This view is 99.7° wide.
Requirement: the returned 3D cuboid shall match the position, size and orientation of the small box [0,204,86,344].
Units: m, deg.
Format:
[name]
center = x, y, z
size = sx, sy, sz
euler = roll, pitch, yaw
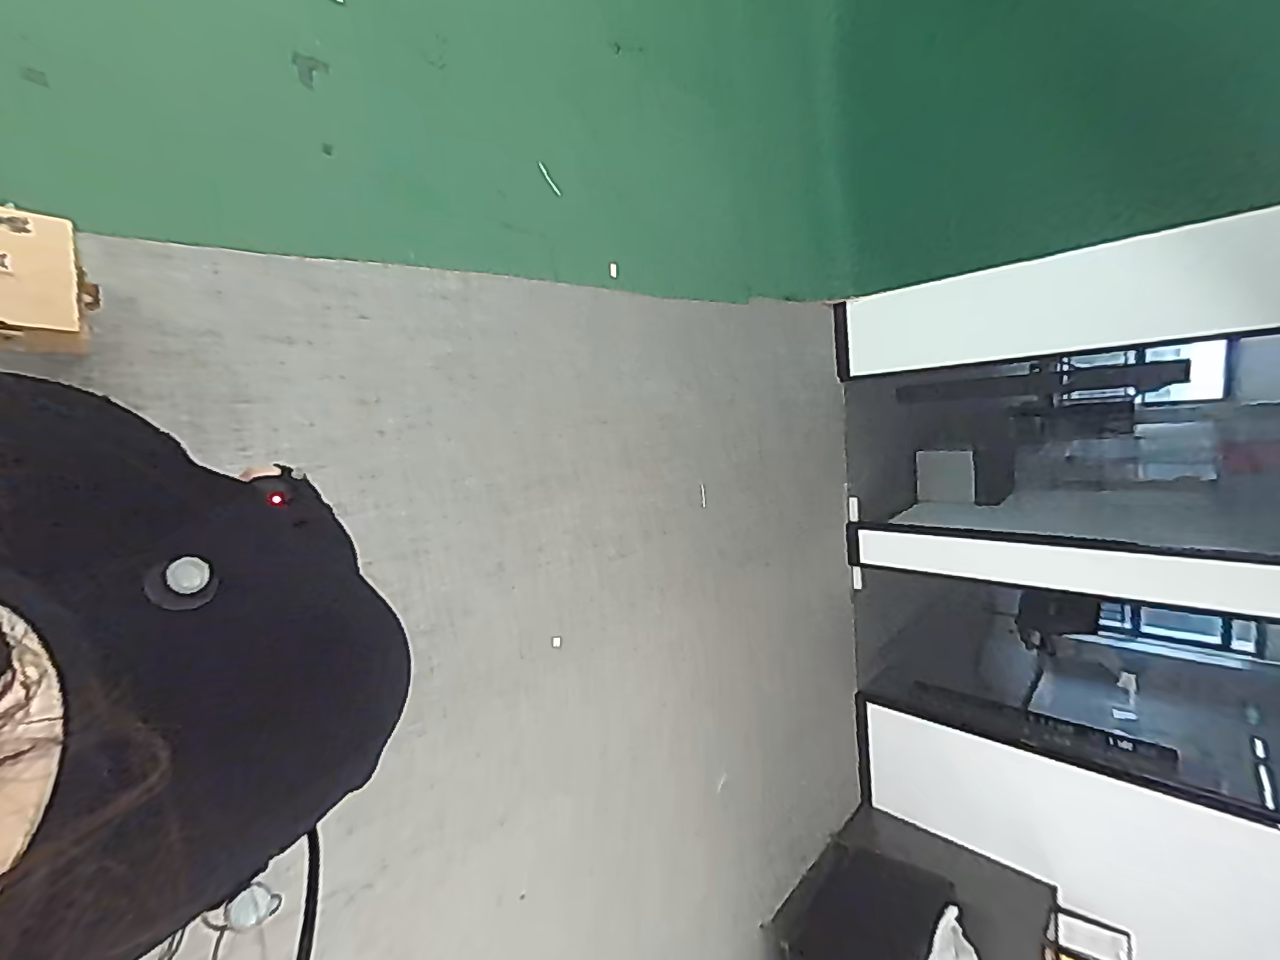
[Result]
[small box]
center = -0.978, -0.312, 0.831
size = 0.168, 0.176, 0.179
euler = -4, 95, -44
